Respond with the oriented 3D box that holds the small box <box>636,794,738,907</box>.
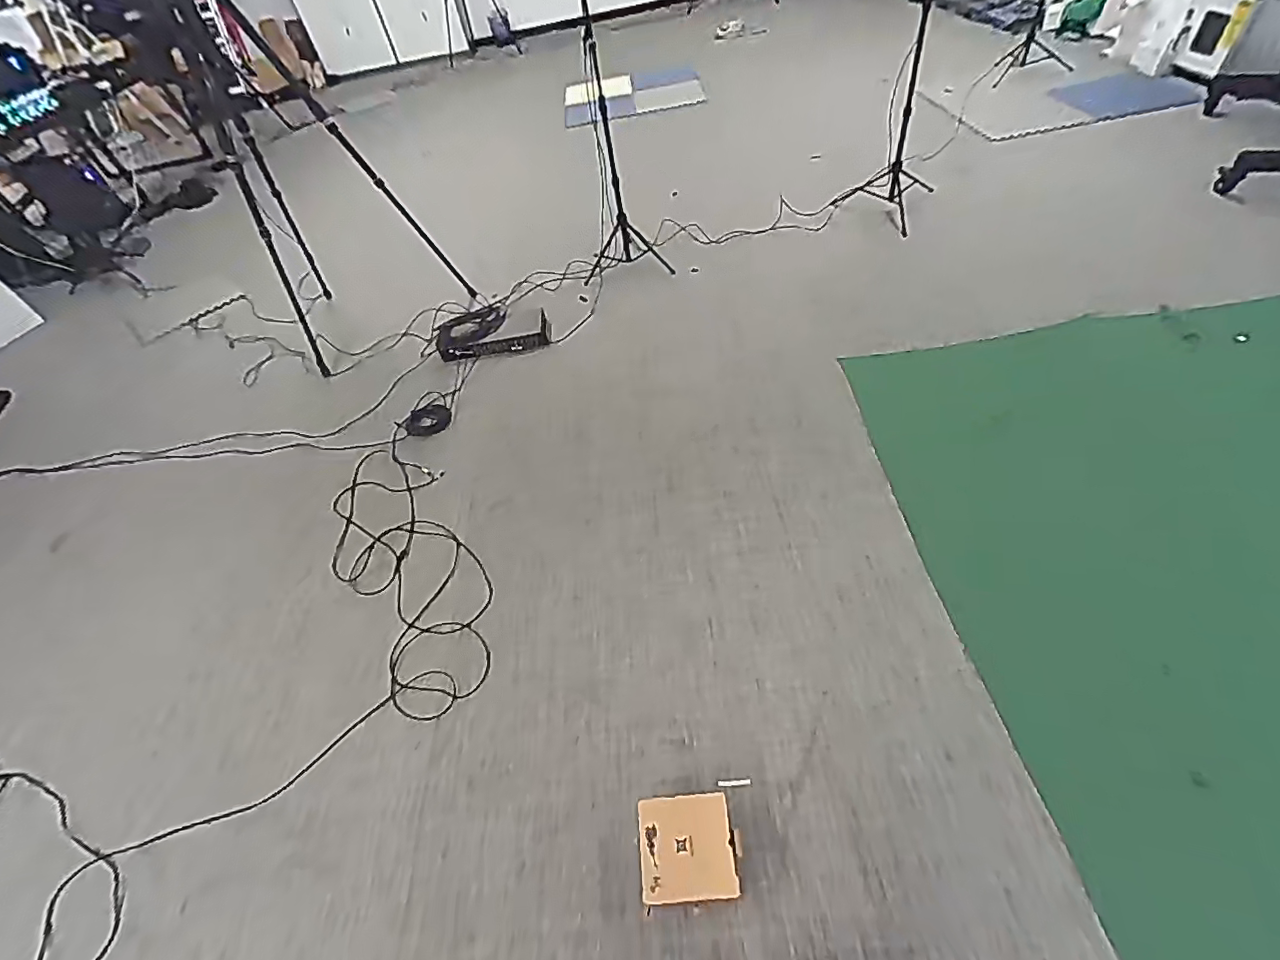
[{"bbox_3d":[0.091,0.734,1.069,0.179,0.176,0.168,-8,50,3],"label":"small box"}]
